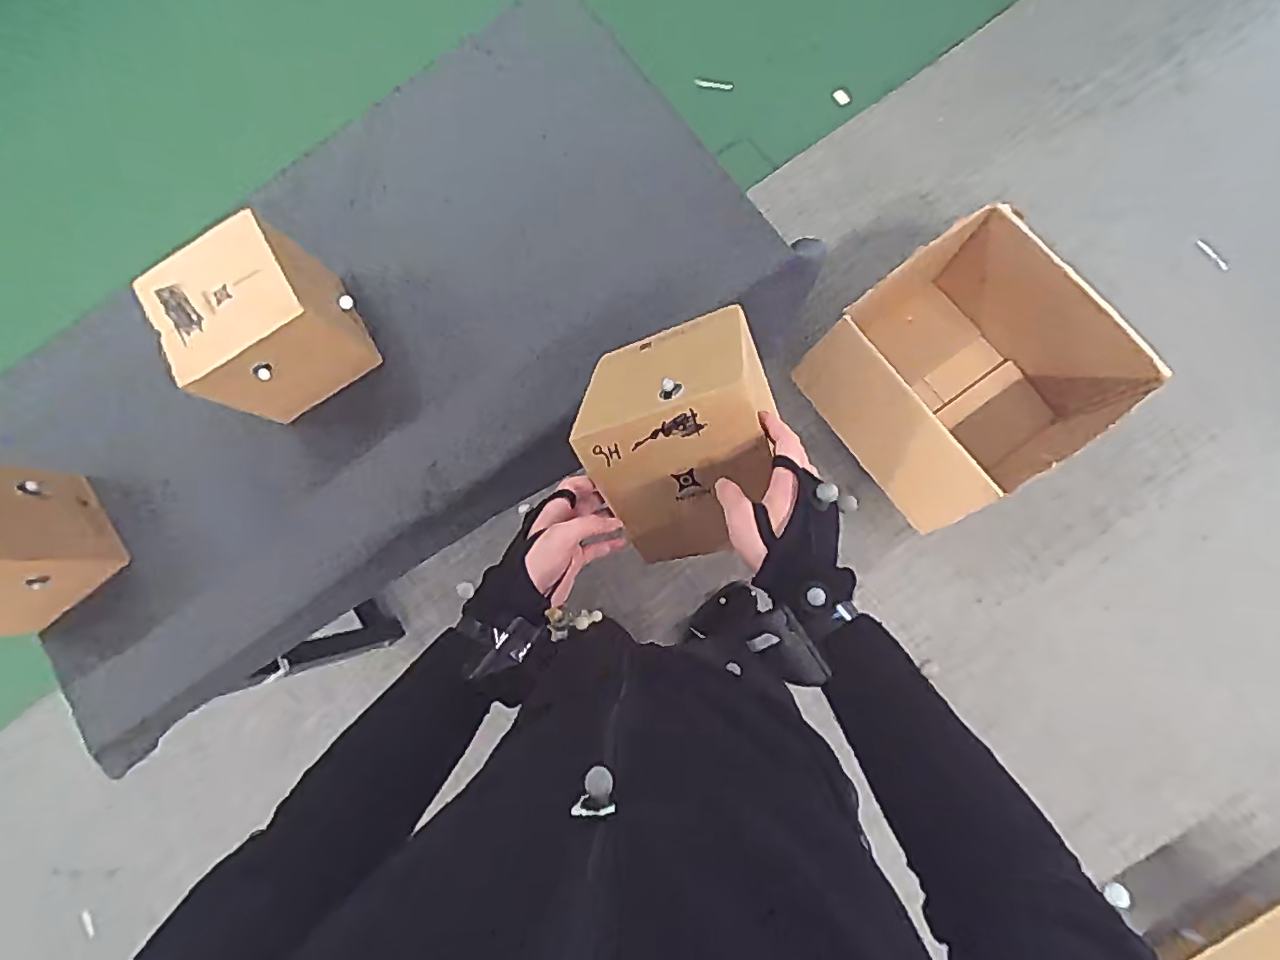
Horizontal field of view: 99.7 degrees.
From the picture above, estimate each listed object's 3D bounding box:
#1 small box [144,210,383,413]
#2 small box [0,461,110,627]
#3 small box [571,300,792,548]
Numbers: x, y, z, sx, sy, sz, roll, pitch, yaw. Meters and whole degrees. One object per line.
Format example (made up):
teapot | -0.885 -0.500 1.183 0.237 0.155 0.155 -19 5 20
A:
small box | -0.492 -0.211 0.730 0.179 0.176 0.168 -29 82 2
small box | -0.867 0.084 0.716 0.179 0.176 0.168 -38 79 1
small box | 0.055 -0.059 0.579 0.168 0.176 0.179 -17 124 22
